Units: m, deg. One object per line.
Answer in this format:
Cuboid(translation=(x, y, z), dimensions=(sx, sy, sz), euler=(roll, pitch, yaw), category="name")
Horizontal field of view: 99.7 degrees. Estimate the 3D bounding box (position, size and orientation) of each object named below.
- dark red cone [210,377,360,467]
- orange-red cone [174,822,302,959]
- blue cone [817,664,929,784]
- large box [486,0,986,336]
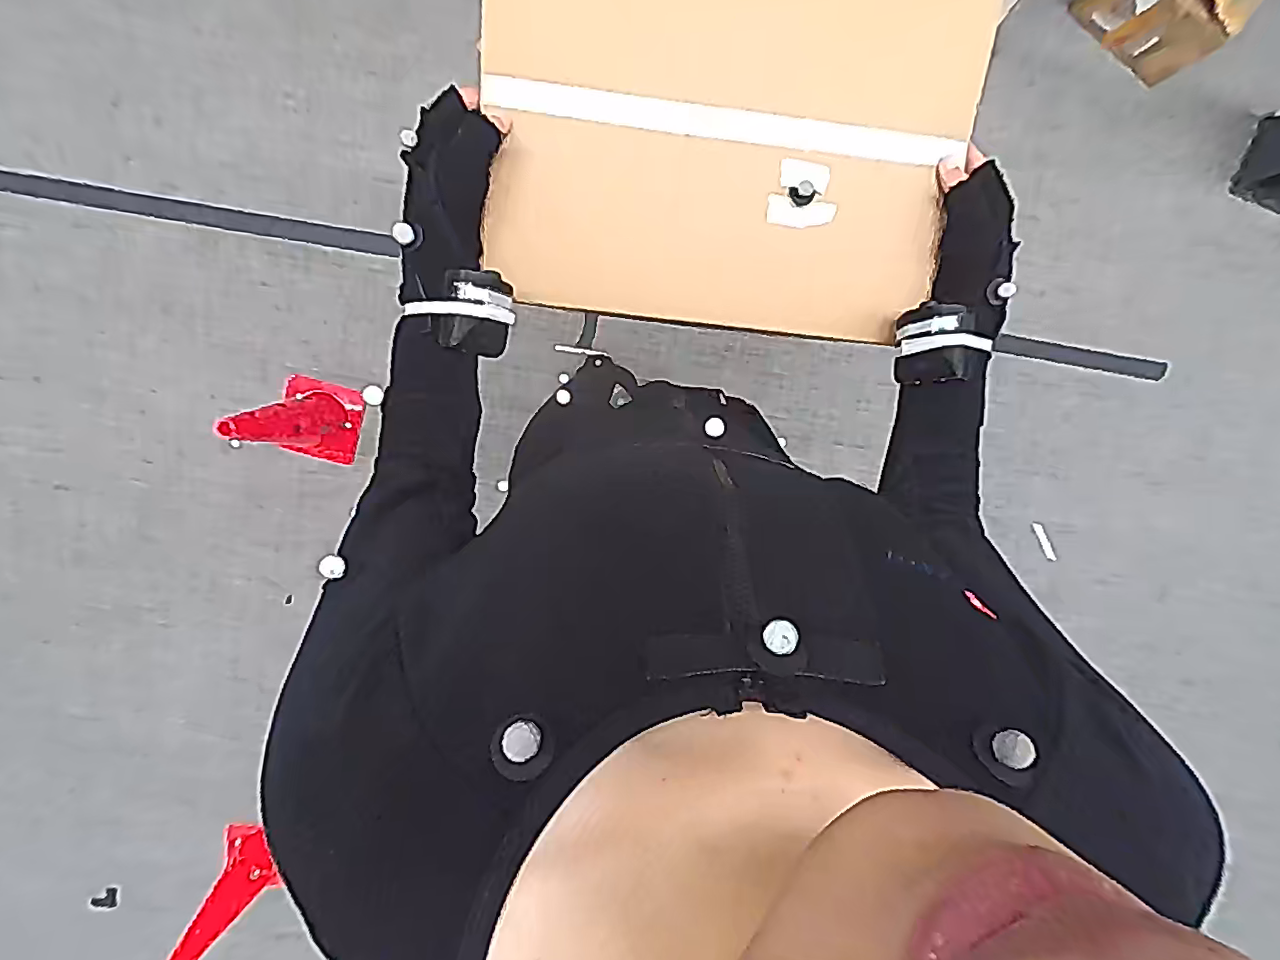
Cuboid(translation=(-0.813, -0.124, 1.215), dimensions=(0.201, 0.394, 0.202), euler=(14, 98, -6), category="dark red cone")
Cuboid(translation=(-1.089, 1.130, 1.420), dimensions=(0.198, 0.360, 0.199), euler=(6, 100, -3), category="orange-red cone")
Cuboid(translation=(0.639, 0.668, 1.450), dimensions=(0.192, 0.380, 0.193), euler=(12, 98, -6), category="blue cone")
Cuboid(translation=(0.063, -0.336, 0.596), dimensions=(0.408, 0.320, 0.320), euler=(5, 106, -5), category="large box")
